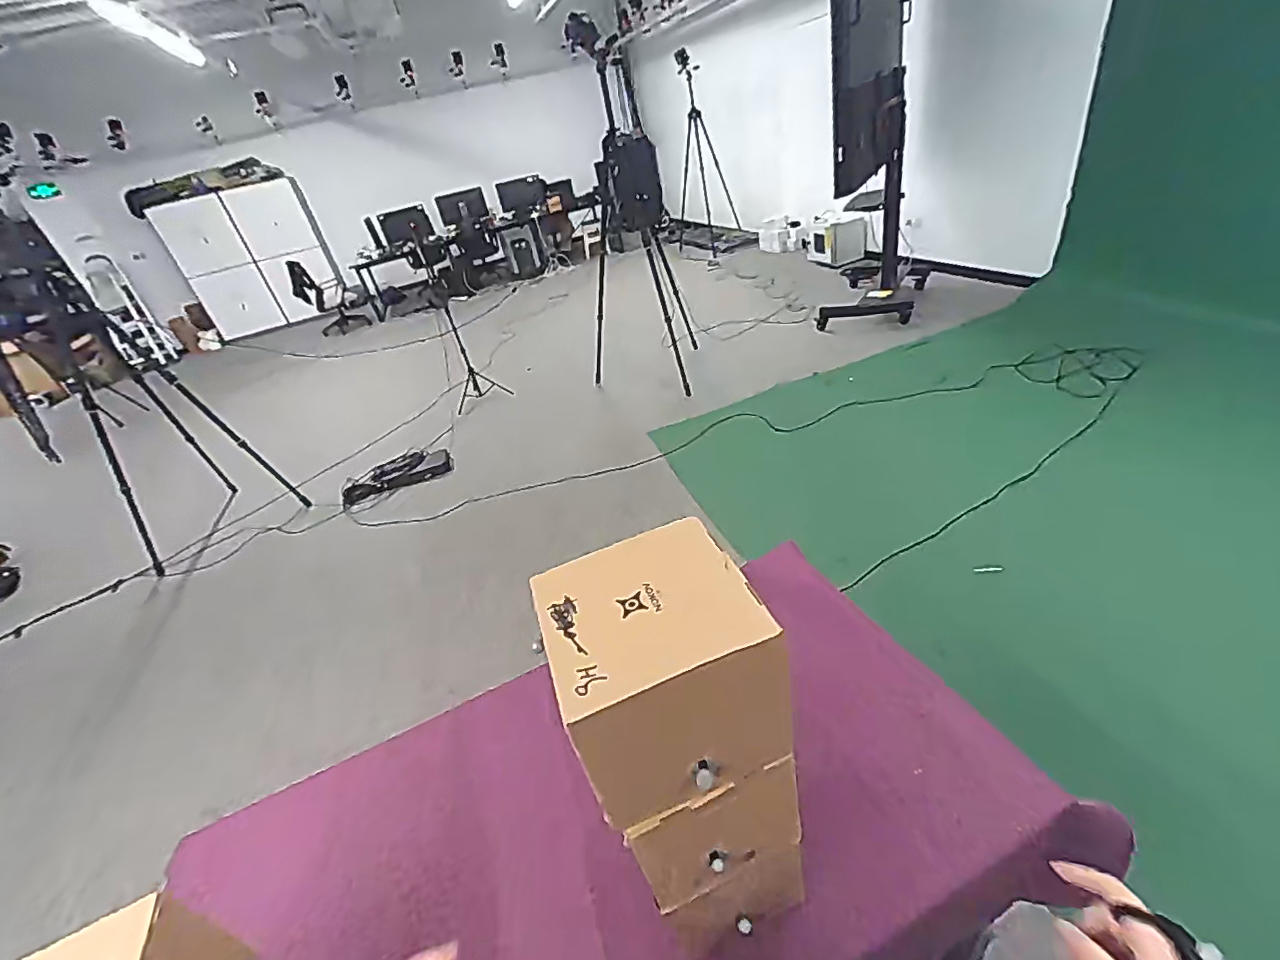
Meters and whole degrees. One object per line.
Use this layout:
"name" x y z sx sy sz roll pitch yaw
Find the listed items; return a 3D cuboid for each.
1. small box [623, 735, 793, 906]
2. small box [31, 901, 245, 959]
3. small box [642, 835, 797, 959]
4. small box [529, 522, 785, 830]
"small box" 0.049 0.304 0.587 0.168 0.176 0.179 -21 35 -11
"small box" -0.472 0.517 0.455 0.179 0.176 0.168 -23 34 -15
"small box" 0.078 0.439 0.674 0.168 0.176 0.179 -21 34 -11
"small box" 0.015 0.172 0.494 0.179 0.176 0.168 -19 34 -10
